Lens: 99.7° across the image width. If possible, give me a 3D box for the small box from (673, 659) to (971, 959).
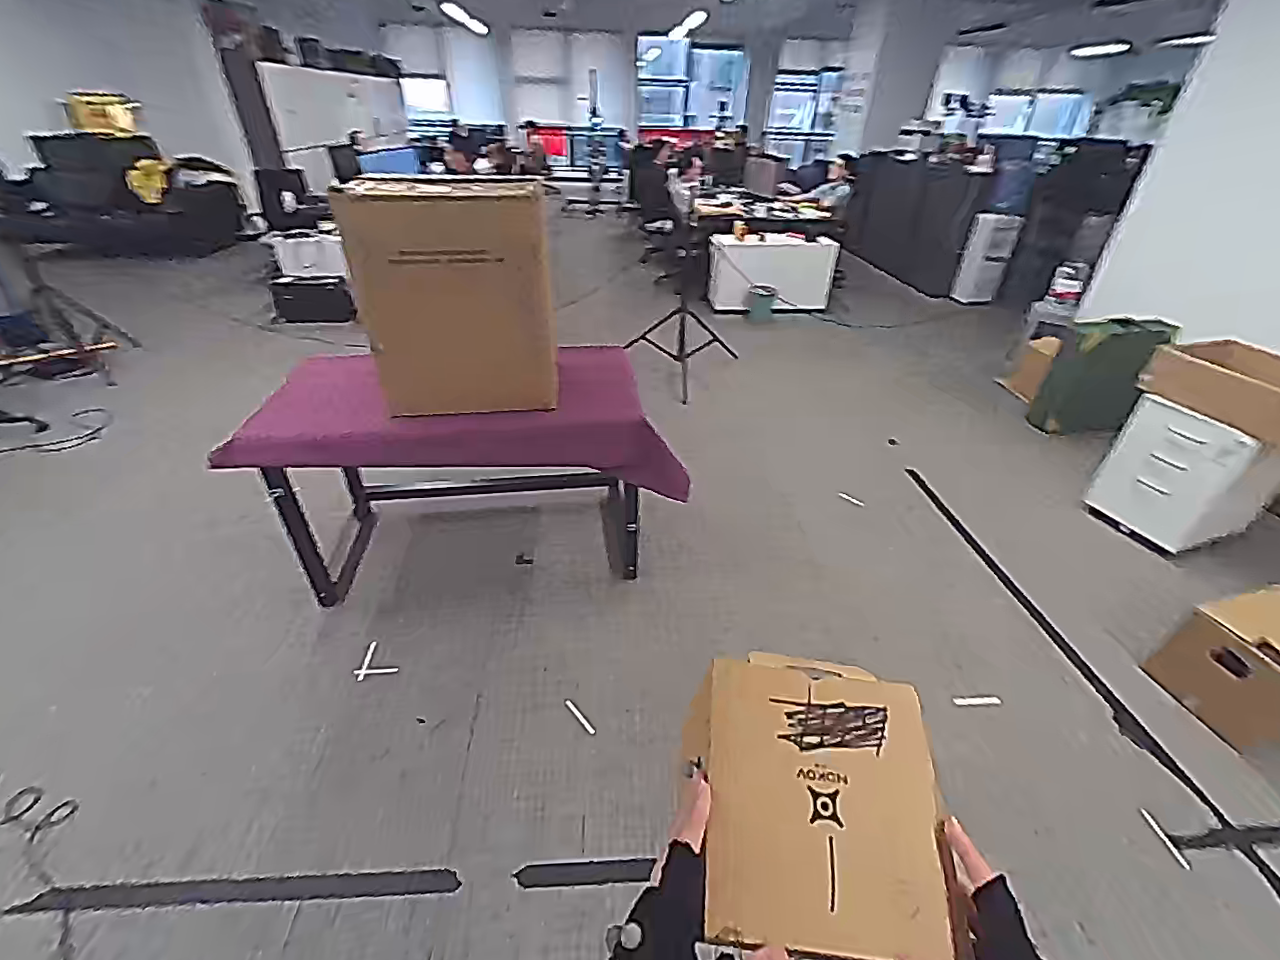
[{"bbox_3d":[0.120,0.270,0.438,0.168,0.176,0.179,7,50,1],"label":"small box"}]
